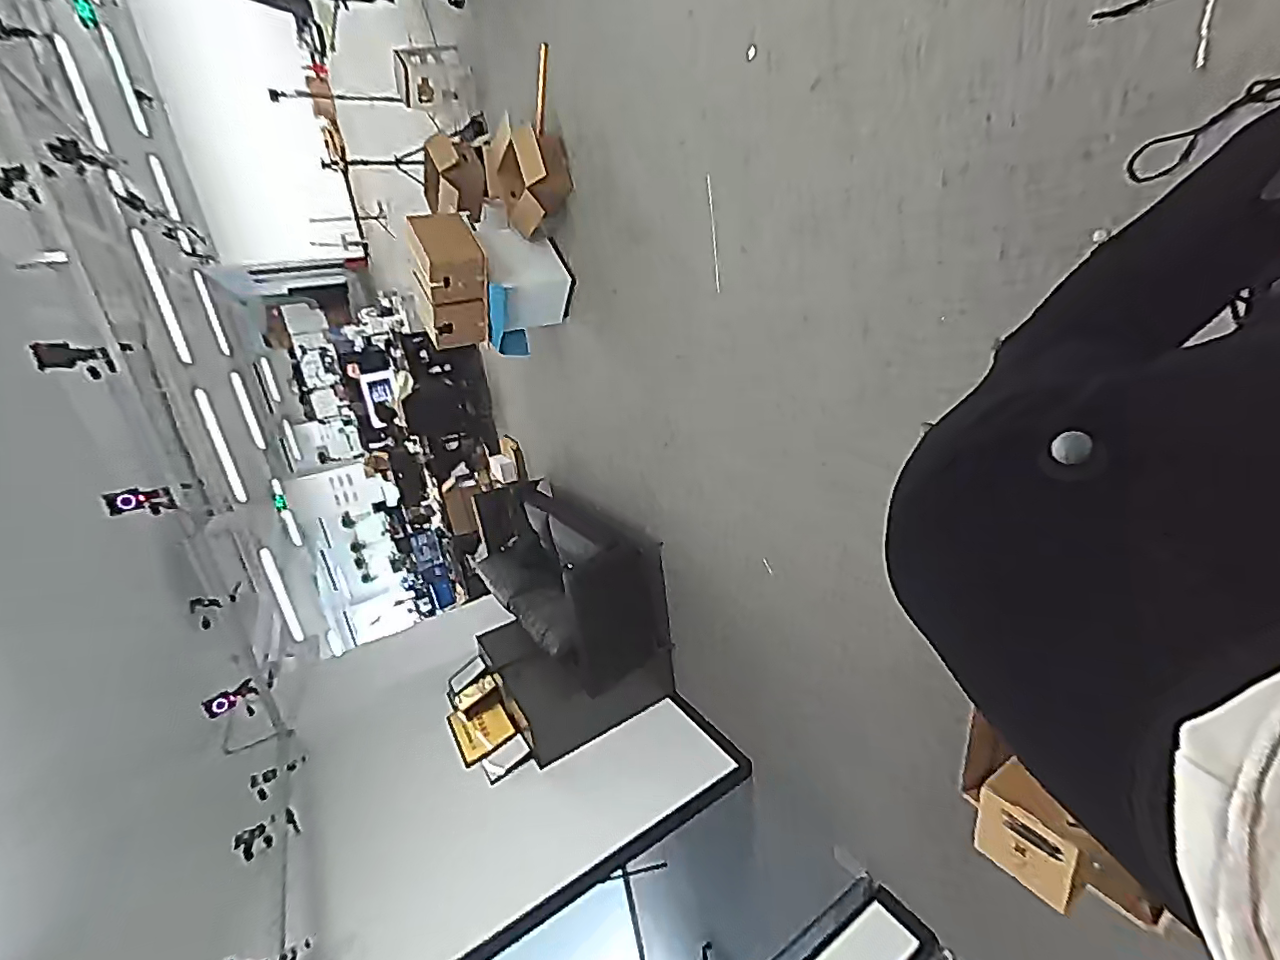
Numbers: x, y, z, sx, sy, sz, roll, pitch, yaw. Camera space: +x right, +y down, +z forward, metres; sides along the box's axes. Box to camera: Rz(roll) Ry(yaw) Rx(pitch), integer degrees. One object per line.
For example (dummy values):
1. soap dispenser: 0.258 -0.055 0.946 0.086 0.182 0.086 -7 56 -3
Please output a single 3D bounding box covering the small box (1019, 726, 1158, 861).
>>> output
1. small box: 0.954 0.645 1.154 0.168 0.176 0.179 27 127 55
